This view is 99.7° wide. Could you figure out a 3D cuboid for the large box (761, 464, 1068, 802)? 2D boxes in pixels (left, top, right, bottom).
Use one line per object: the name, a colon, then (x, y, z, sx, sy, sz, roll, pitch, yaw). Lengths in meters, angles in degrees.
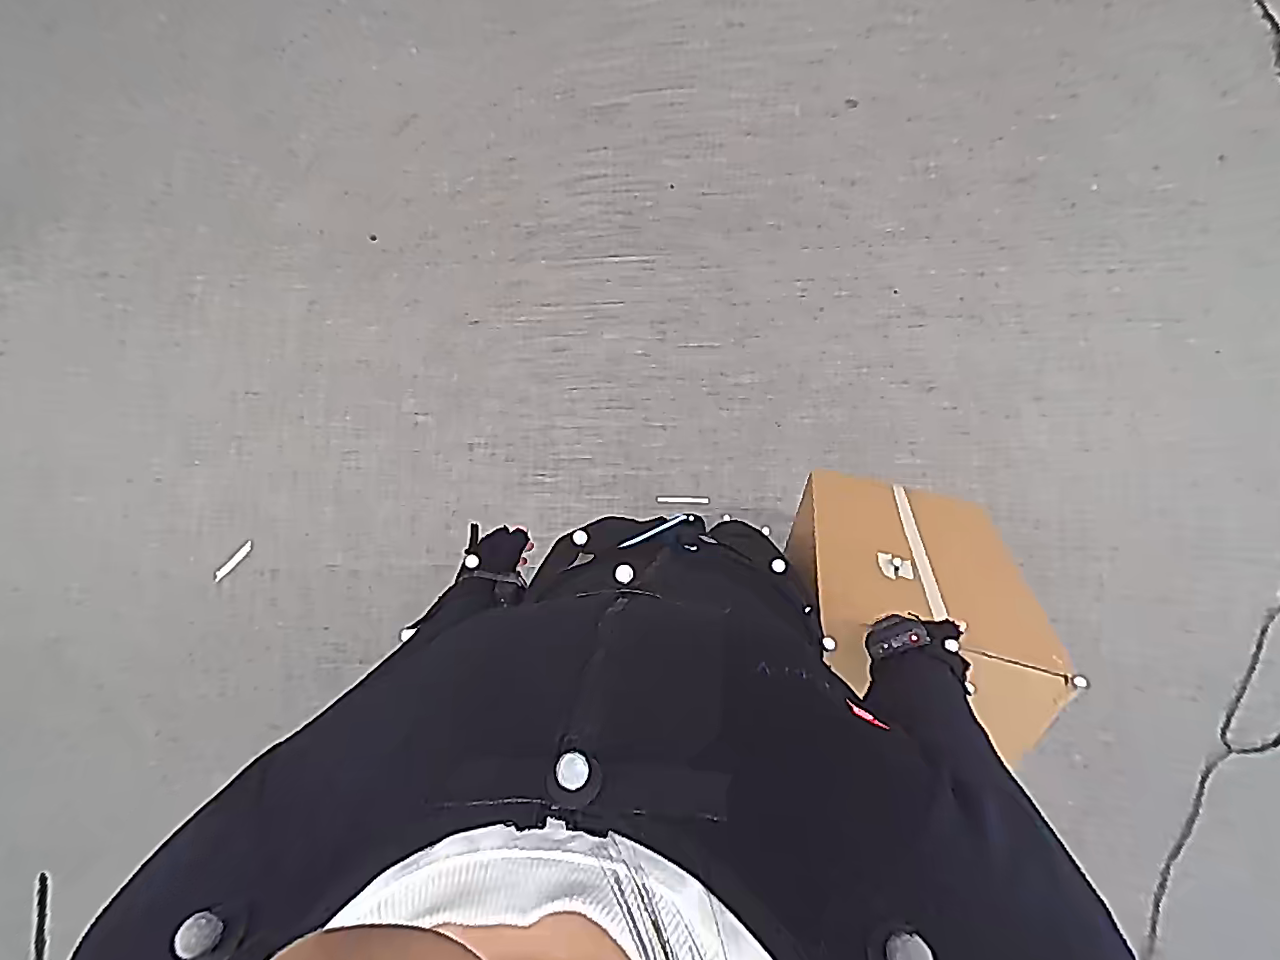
large box: (0.399, 0.228, 0.912, 0.320, 0.408, 0.320, 12, 124, 10)
